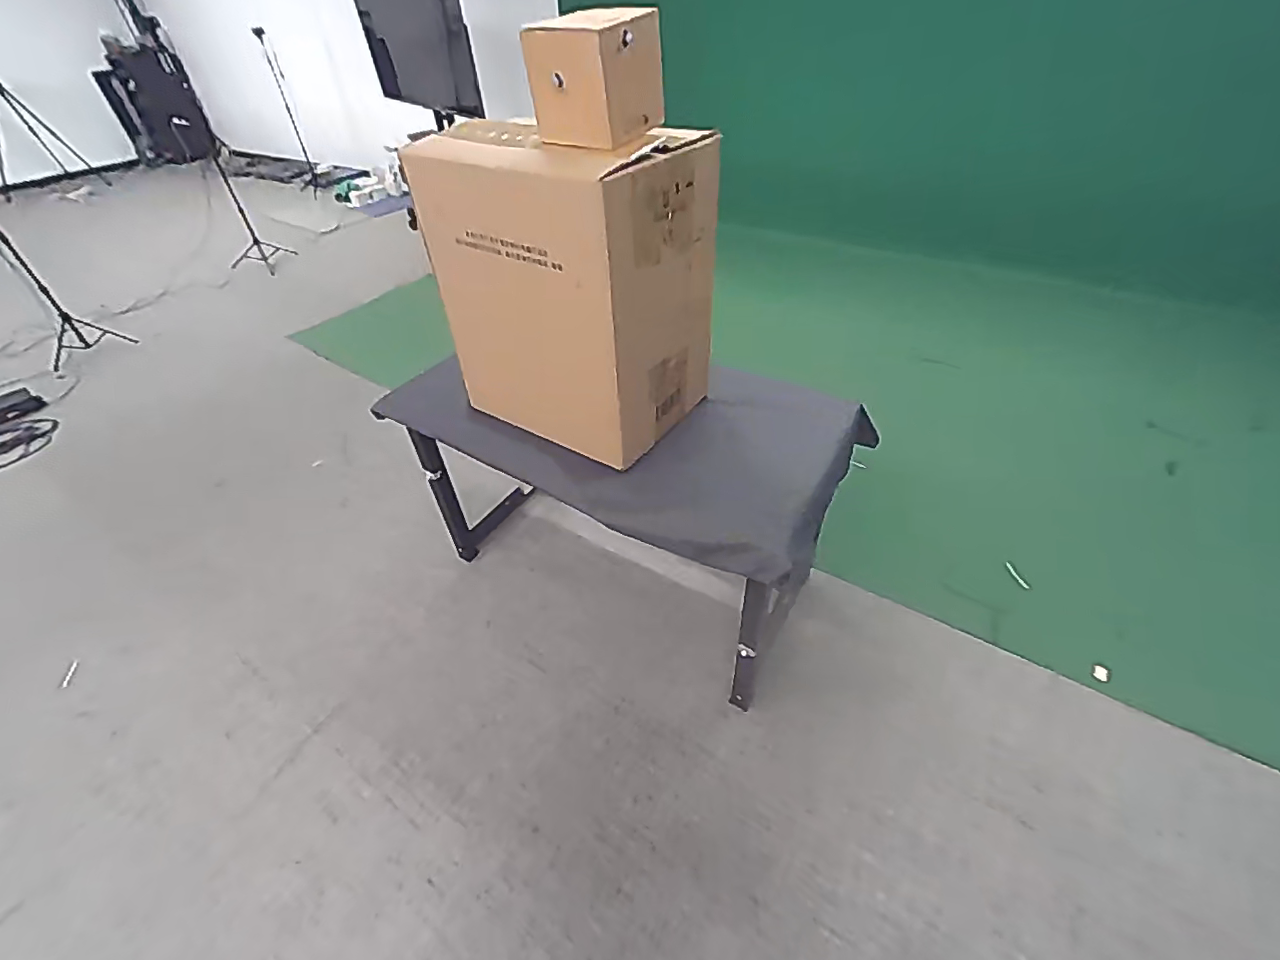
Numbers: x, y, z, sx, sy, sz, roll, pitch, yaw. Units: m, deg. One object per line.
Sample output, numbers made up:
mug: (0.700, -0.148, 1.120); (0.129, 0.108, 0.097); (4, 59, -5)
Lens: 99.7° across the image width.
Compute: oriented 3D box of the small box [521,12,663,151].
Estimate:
small box: (-0.077, -0.704, 0.960); (0.179, 0.176, 0.168); (24, 55, 28)
